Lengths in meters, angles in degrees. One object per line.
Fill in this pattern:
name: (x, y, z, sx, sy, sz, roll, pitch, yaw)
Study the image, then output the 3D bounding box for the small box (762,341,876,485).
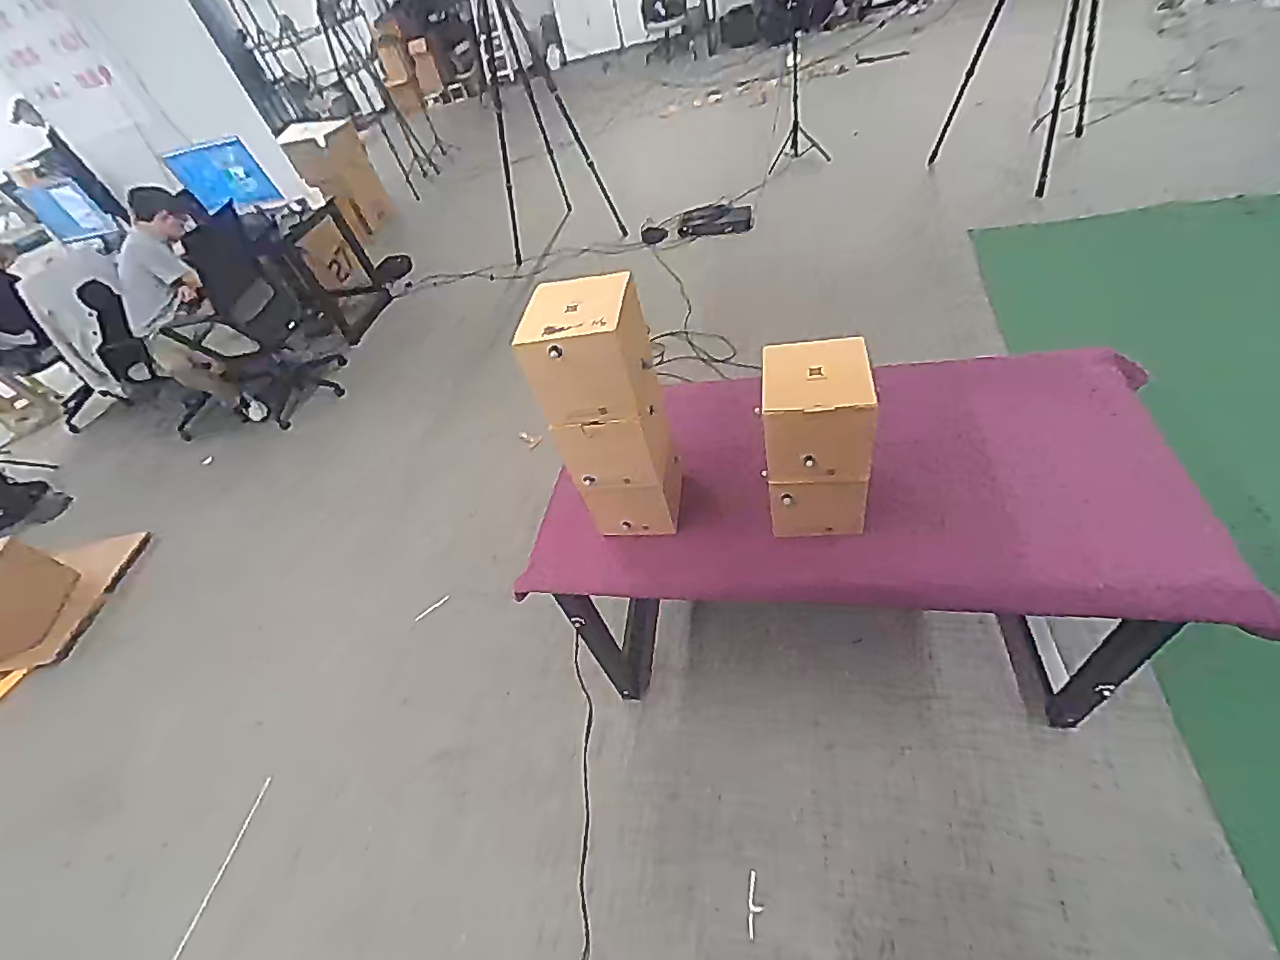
small box: (0.294, -0.110, 0.915, 0.168, 0.176, 0.179, -3, 48, 15)

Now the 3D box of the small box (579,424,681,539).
small box: (-0.011, 0.005, 1.133, 0.168, 0.176, 0.179, -3, 48, 15)

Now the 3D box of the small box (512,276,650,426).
small box: (-0.085, -0.211, 0.898, 0.168, 0.176, 0.179, -4, 47, 15)

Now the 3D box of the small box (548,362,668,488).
small box: (-0.049, -0.097, 1.010, 0.168, 0.176, 0.179, -3, 47, 15)
